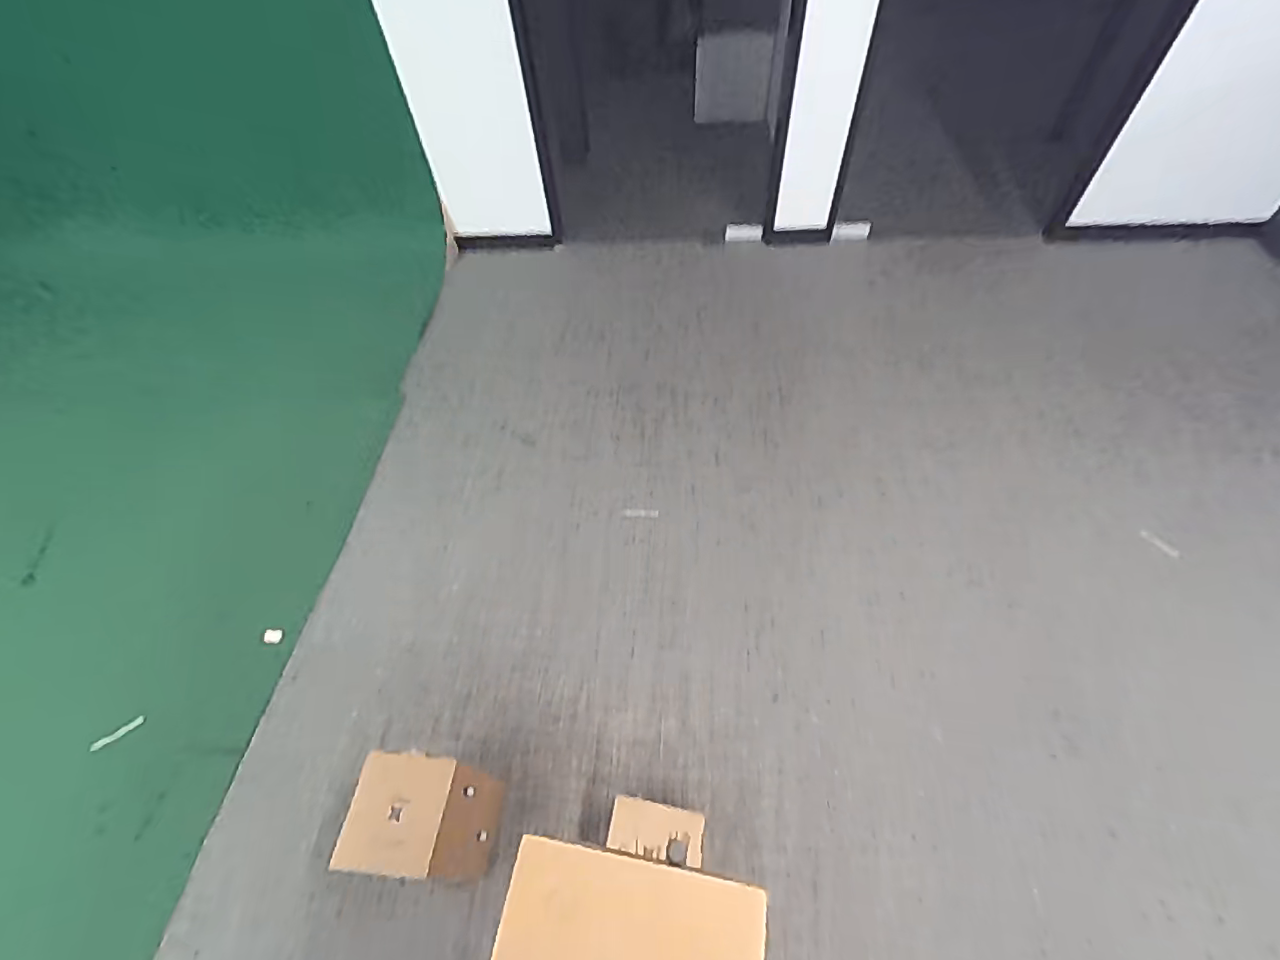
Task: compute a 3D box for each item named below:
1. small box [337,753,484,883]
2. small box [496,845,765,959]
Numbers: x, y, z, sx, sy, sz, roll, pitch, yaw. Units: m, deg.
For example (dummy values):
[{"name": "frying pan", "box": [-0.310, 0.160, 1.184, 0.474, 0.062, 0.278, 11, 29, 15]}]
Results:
[{"name": "small box", "box": [-0.397, 0.609, 0.974, 0.168, 0.176, 0.179, 2, 55, 6]}, {"name": "small box", "box": [-0.012, 0.373, 0.377, 0.168, 0.176, 0.179, 7, 58, 8]}]
